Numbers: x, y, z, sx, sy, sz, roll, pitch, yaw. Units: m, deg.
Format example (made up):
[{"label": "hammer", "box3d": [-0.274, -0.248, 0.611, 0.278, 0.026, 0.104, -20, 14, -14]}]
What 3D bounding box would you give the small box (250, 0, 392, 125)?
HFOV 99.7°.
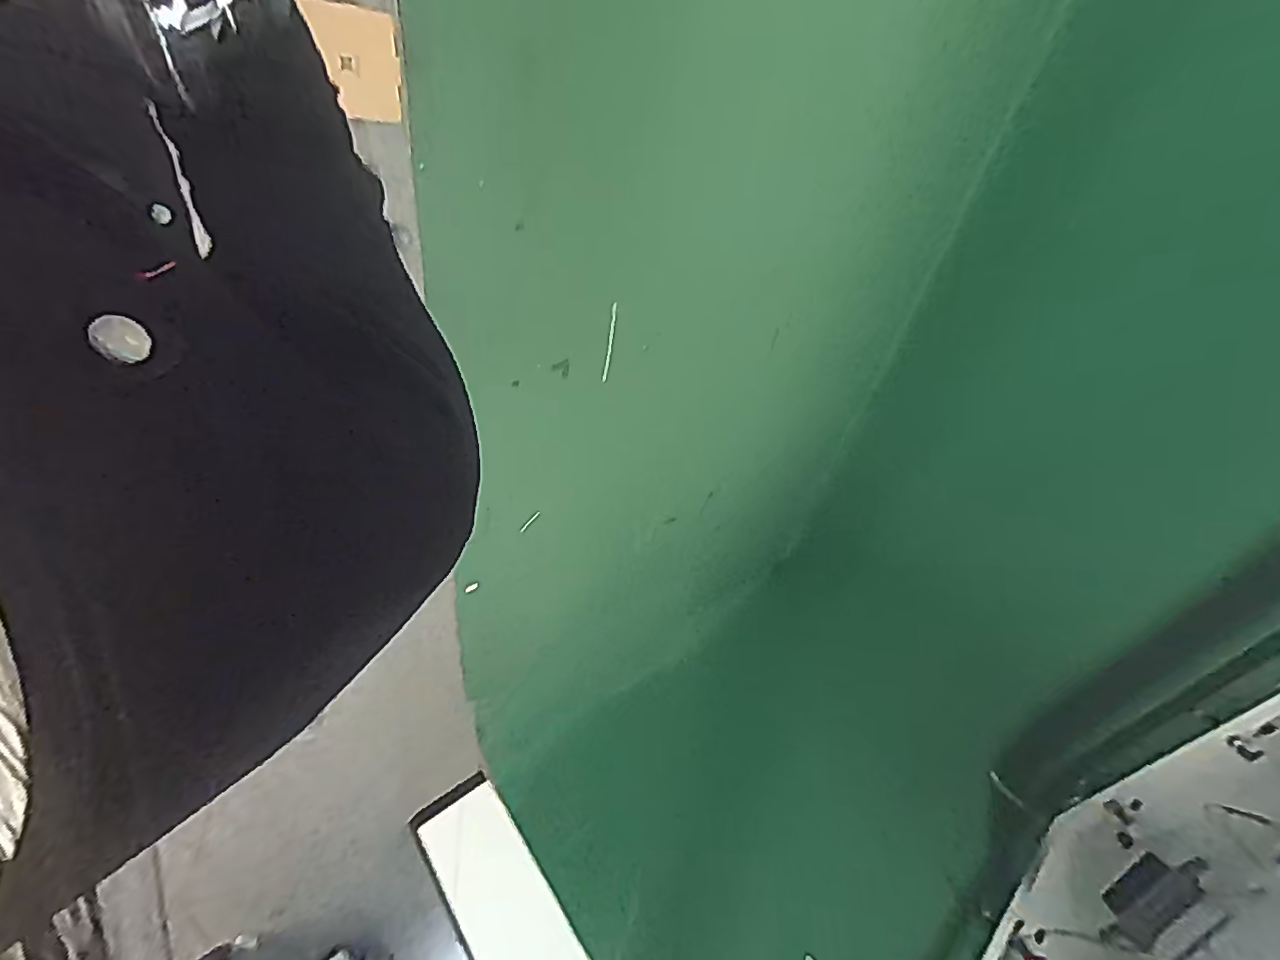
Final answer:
[{"label": "small box", "box3d": [-0.578, -0.771, 0.986, 0.179, 0.176, 0.168, -20, 138, -36]}]
